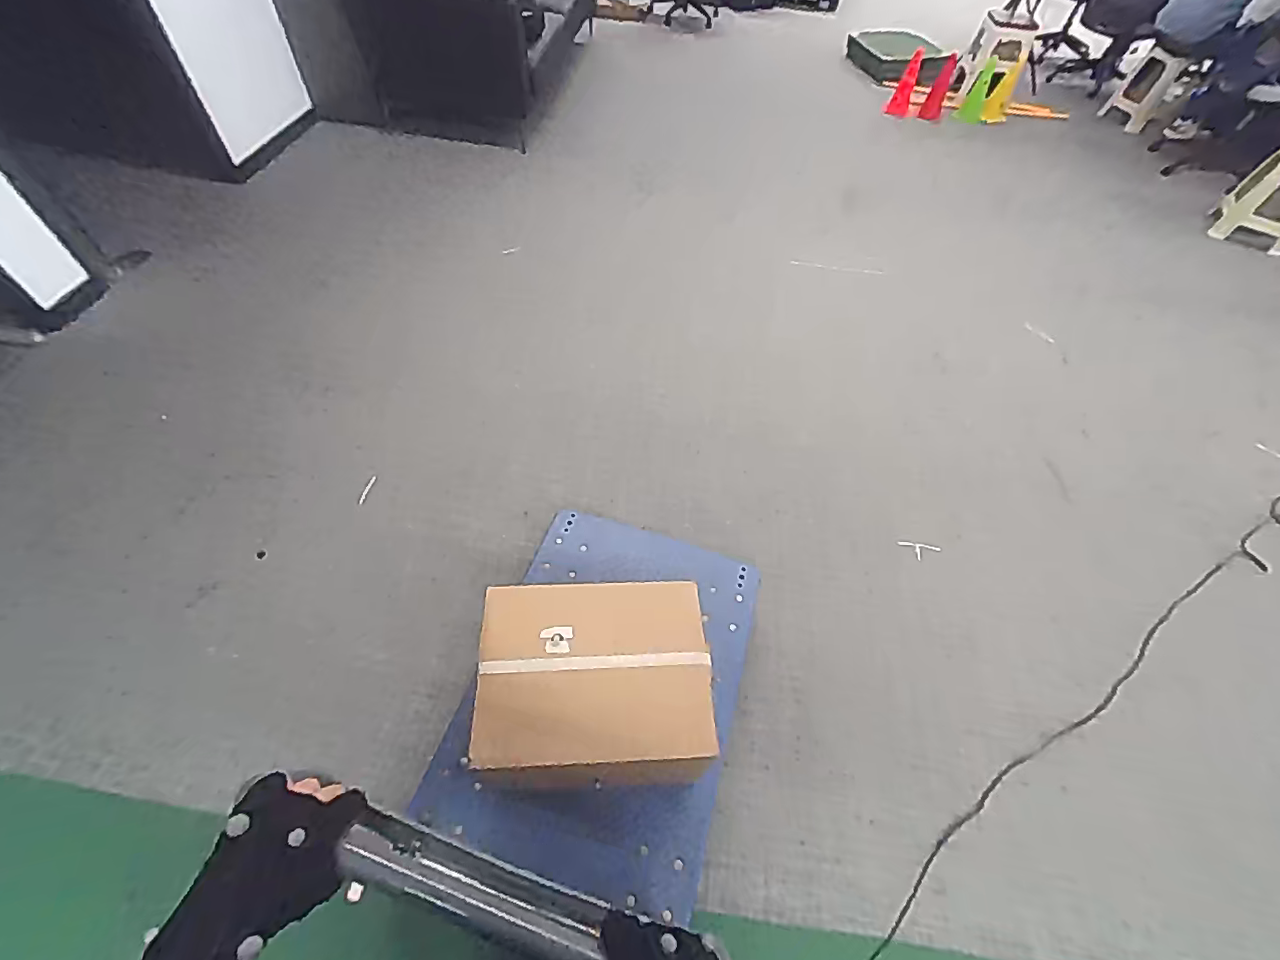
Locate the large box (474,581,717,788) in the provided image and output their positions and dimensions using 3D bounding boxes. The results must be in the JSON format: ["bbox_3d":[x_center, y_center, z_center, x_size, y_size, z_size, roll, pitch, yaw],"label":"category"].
[{"bbox_3d":[-0.083,0.417,1.084,0.408,0.320,0.320,-1,53,-4],"label":"large box"}]
